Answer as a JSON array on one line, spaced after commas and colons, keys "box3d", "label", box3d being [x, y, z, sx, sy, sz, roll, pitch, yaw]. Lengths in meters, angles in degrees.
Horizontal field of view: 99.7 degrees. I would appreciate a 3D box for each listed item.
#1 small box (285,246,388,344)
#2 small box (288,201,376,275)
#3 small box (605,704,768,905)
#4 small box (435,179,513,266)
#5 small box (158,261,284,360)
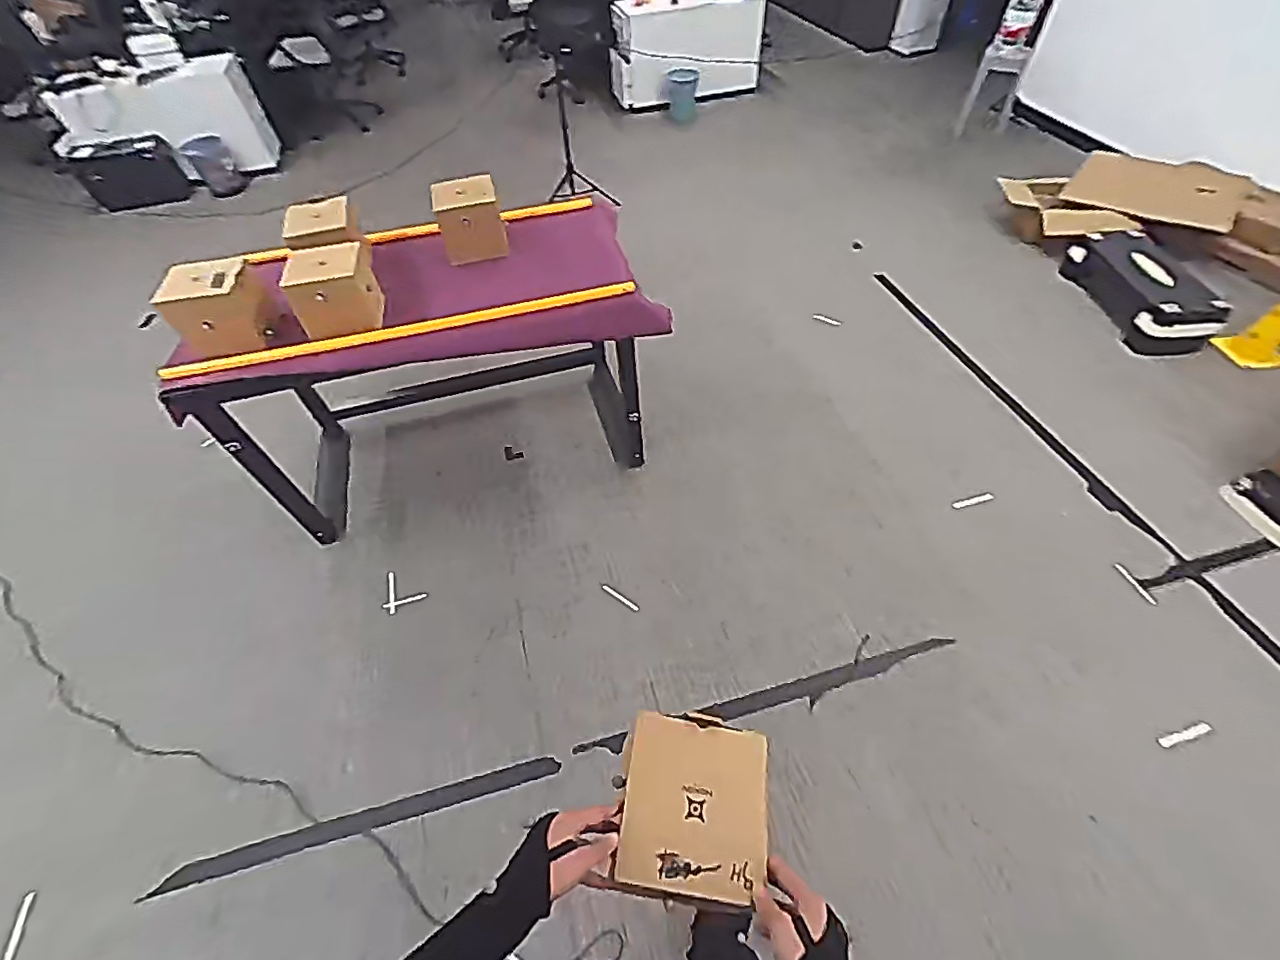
[{"box3d": [-0.777, -0.479, 1.407, 0.179, 0.176, 0.168, -12, 52, -5], "label": "small box"}, {"box3d": [-0.881, -0.673, 1.563, 0.168, 0.176, 0.179, -16, 54, -8], "label": "small box"}, {"box3d": [0.054, 0.408, 0.676, 0.168, 0.176, 0.179, 11, 51, -1], "label": "small box"}, {"box3d": [-0.490, -0.757, 1.603, 0.179, 0.176, 0.168, -14, 54, -7], "label": "small box"}, {"box3d": [-1.055, -0.430, 1.382, 0.179, 0.176, 0.168, -10, 52, -5], "label": "small box"}]
